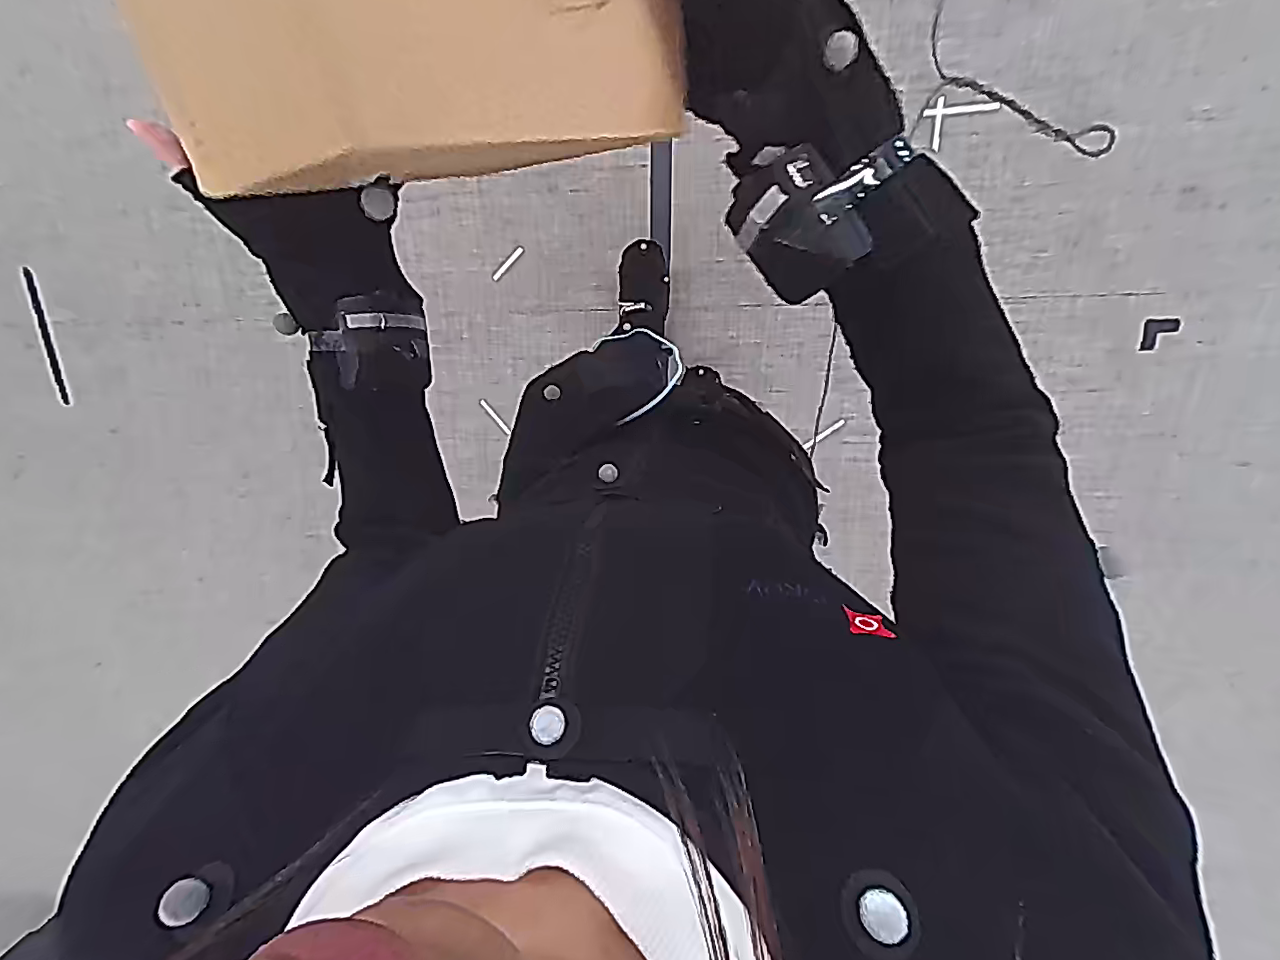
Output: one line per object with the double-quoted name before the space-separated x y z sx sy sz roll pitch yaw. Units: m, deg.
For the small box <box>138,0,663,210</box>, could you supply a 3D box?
"small box" -0.113 -0.231 0.237 0.176 0.168 0.179 19 129 40
